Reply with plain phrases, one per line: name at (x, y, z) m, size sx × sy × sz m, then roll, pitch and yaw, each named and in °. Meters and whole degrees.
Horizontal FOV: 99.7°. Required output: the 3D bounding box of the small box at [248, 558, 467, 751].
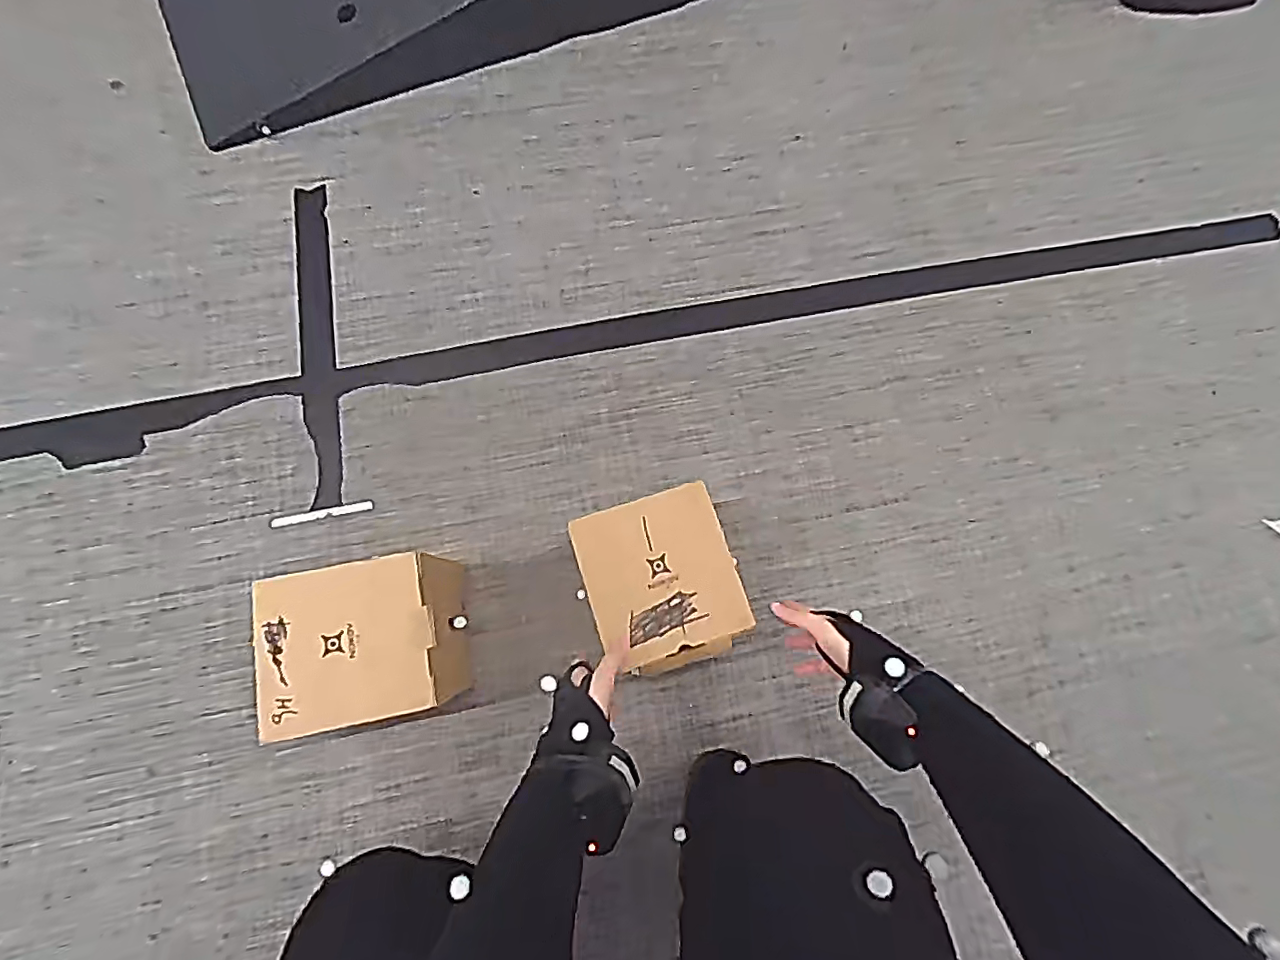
small box at (-0.309, 0.189, 0.626) m, size 0.179 × 0.176 × 0.168 m, roll -10°, pitch 78°, yaw -6°

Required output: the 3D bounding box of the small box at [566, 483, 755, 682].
small box at (0.019, 0.122, 0.656) m, size 0.168 × 0.176 × 0.179 m, roll -17°, pitch 78°, yaw -6°
